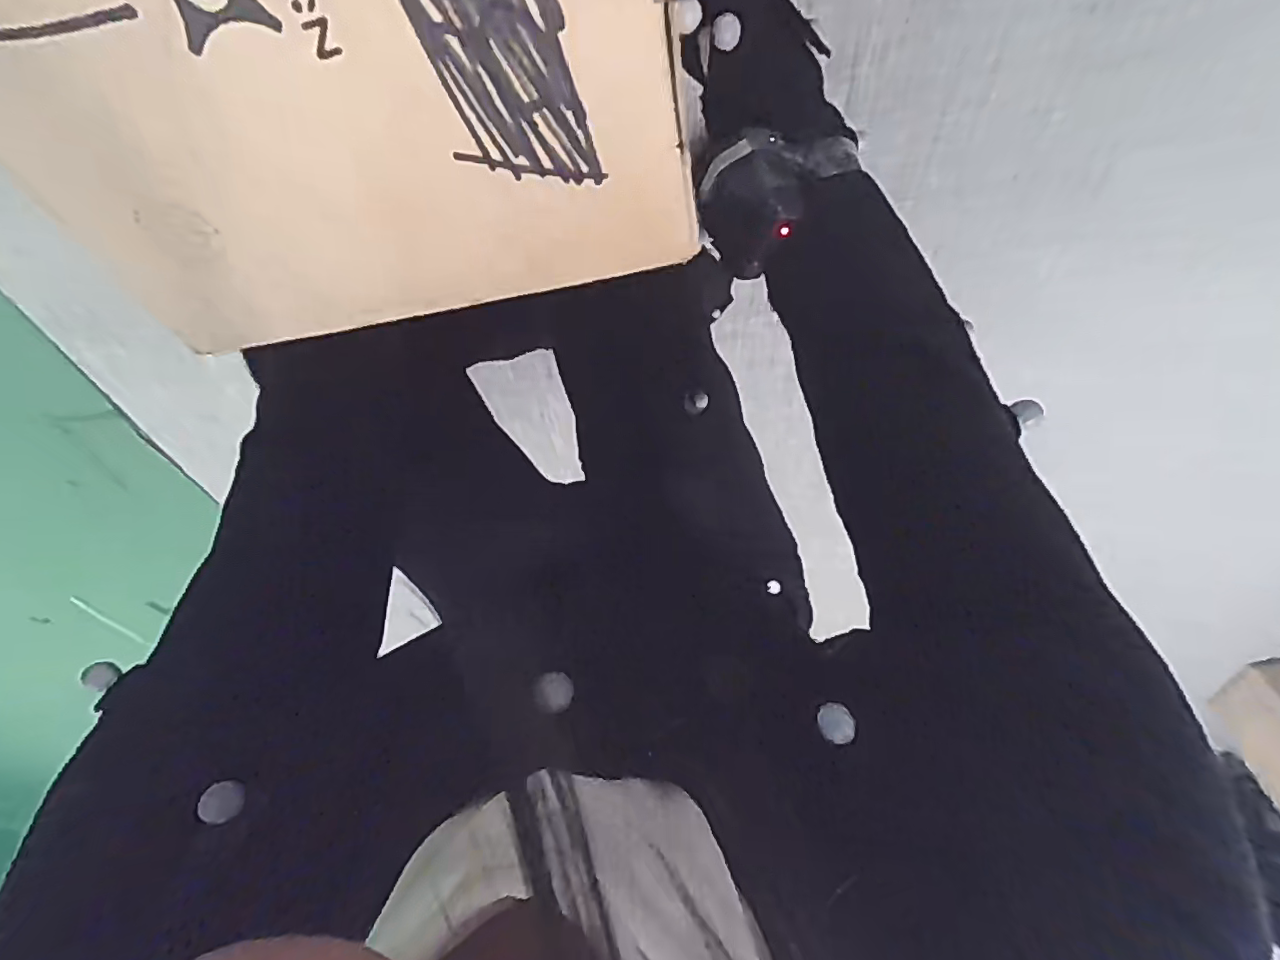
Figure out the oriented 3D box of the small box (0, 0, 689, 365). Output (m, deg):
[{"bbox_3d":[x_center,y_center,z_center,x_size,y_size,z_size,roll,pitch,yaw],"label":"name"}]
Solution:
[{"bbox_3d":[-0.086,-0.162,0.161,0.179,0.176,0.168,-7,140,9],"label":"small box"}]
